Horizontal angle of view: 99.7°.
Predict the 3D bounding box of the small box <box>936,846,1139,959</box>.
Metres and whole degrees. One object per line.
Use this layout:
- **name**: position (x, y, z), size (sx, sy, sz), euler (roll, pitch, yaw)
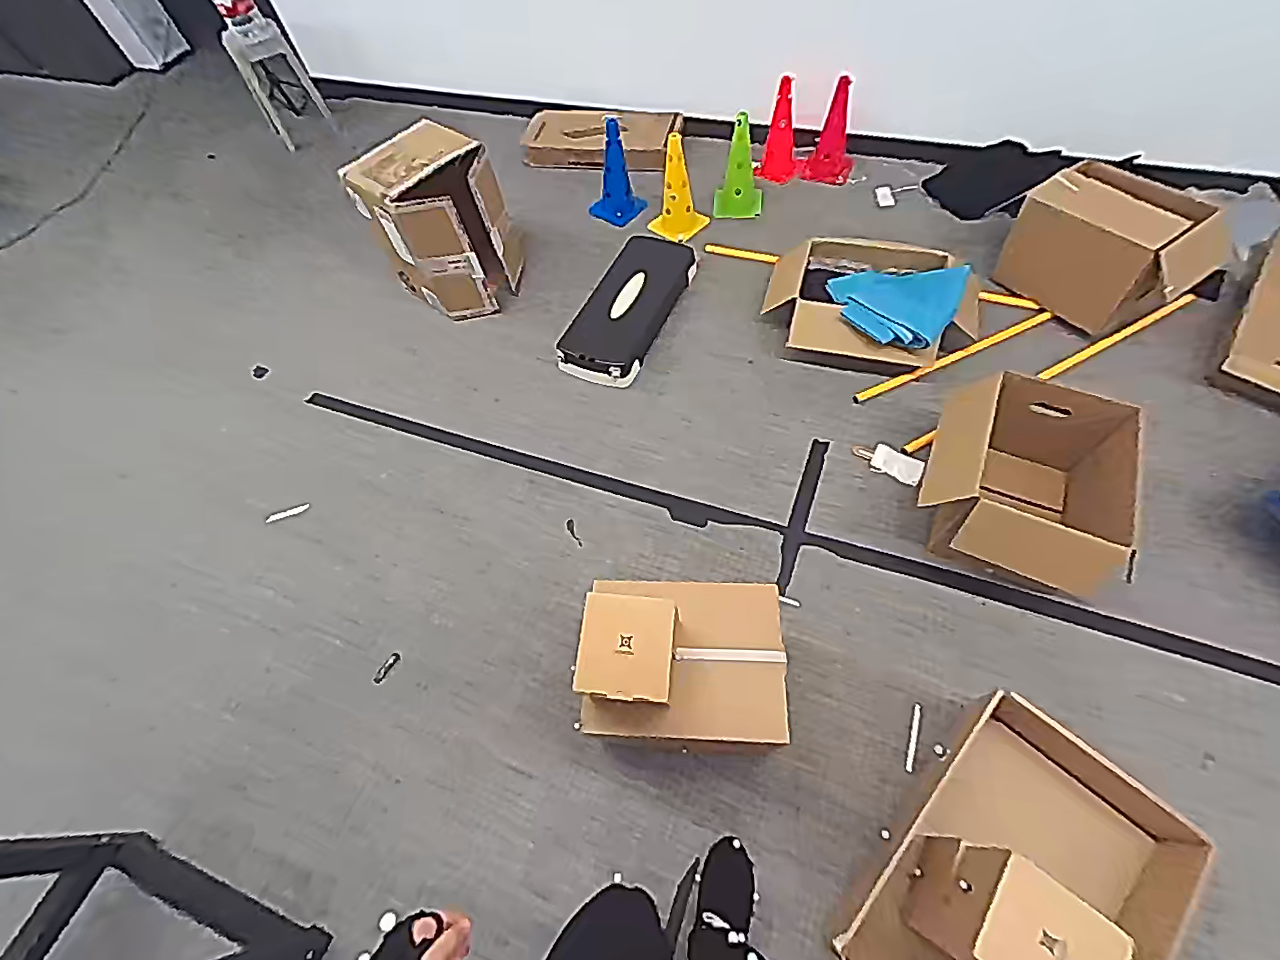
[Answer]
- **small box**: position (0.602, 0.710, 0.842), size (0.179, 0.176, 0.168), euler (34, 66, 22)
